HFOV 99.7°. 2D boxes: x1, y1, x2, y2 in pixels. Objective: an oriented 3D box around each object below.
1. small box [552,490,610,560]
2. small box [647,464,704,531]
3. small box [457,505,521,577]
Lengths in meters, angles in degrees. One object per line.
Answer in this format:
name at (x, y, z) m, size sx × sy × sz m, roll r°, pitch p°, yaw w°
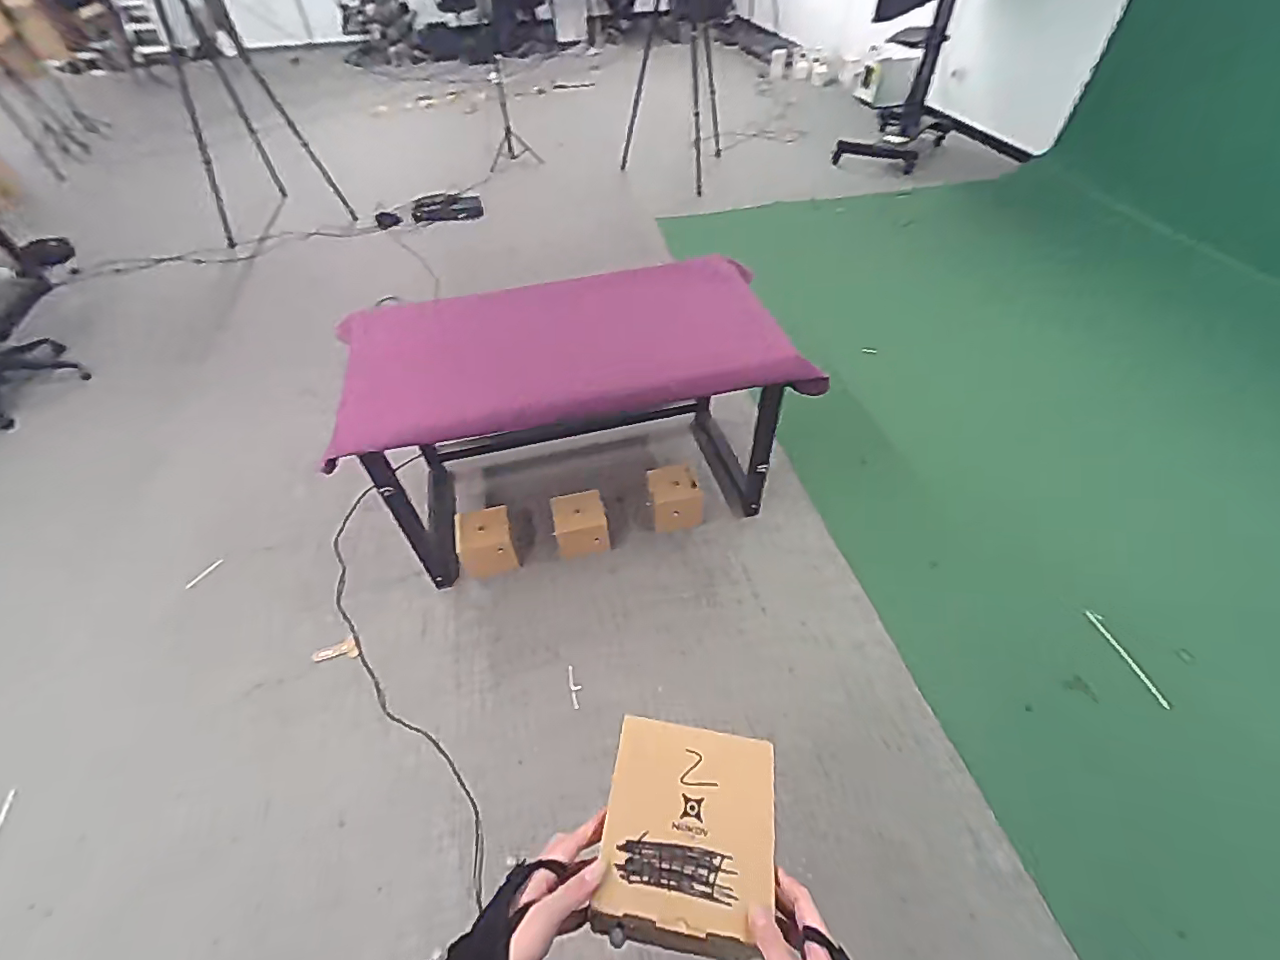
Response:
small box at (-0.205, 0.161, 1.912) m, size 0.179 × 0.176 × 0.168 m, roll -12°, pitch 48°, yaw -7°
small box at (0.130, 0.069, 1.978) m, size 0.179 × 0.176 × 0.168 m, roll -10°, pitch 49°, yaw -6°
small box at (-0.523, 0.216, 1.878) m, size 0.179 × 0.176 × 0.168 m, roll -12°, pitch 49°, yaw -8°
